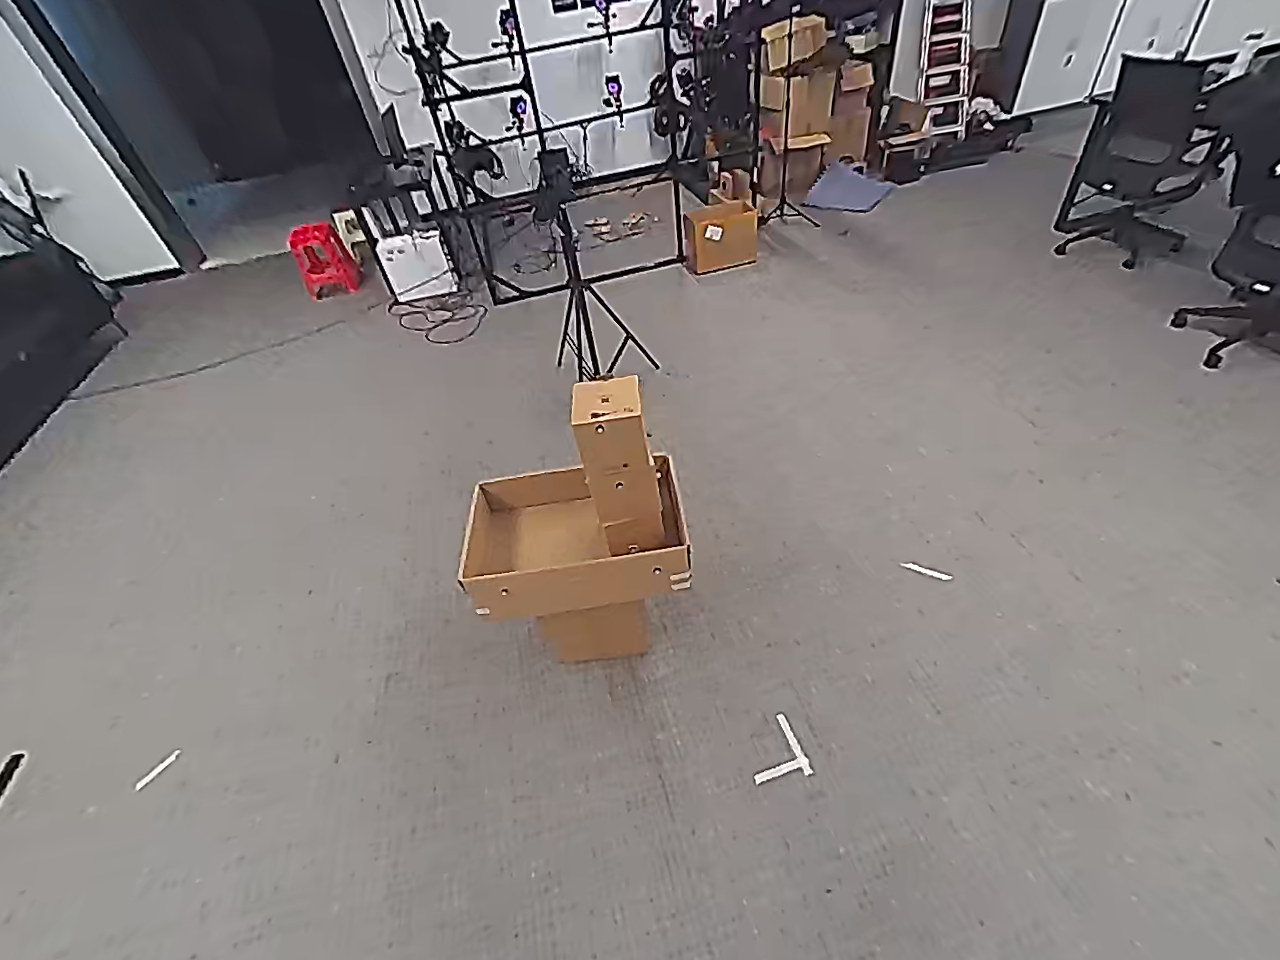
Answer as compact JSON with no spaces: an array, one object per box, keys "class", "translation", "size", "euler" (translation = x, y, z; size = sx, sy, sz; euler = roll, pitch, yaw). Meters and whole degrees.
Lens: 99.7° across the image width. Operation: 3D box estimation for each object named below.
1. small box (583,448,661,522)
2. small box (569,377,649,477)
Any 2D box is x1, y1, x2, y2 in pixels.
[{"class":"small box","translation":[-0.051,-0.009,1.449],"size":[0.179,0.176,0.168],"euler":[-12,43,-1]},{"class":"small box","translation":[-0.072,-0.131,1.341],"size":[0.168,0.176,0.179],"euler":[-9,42,4]}]
